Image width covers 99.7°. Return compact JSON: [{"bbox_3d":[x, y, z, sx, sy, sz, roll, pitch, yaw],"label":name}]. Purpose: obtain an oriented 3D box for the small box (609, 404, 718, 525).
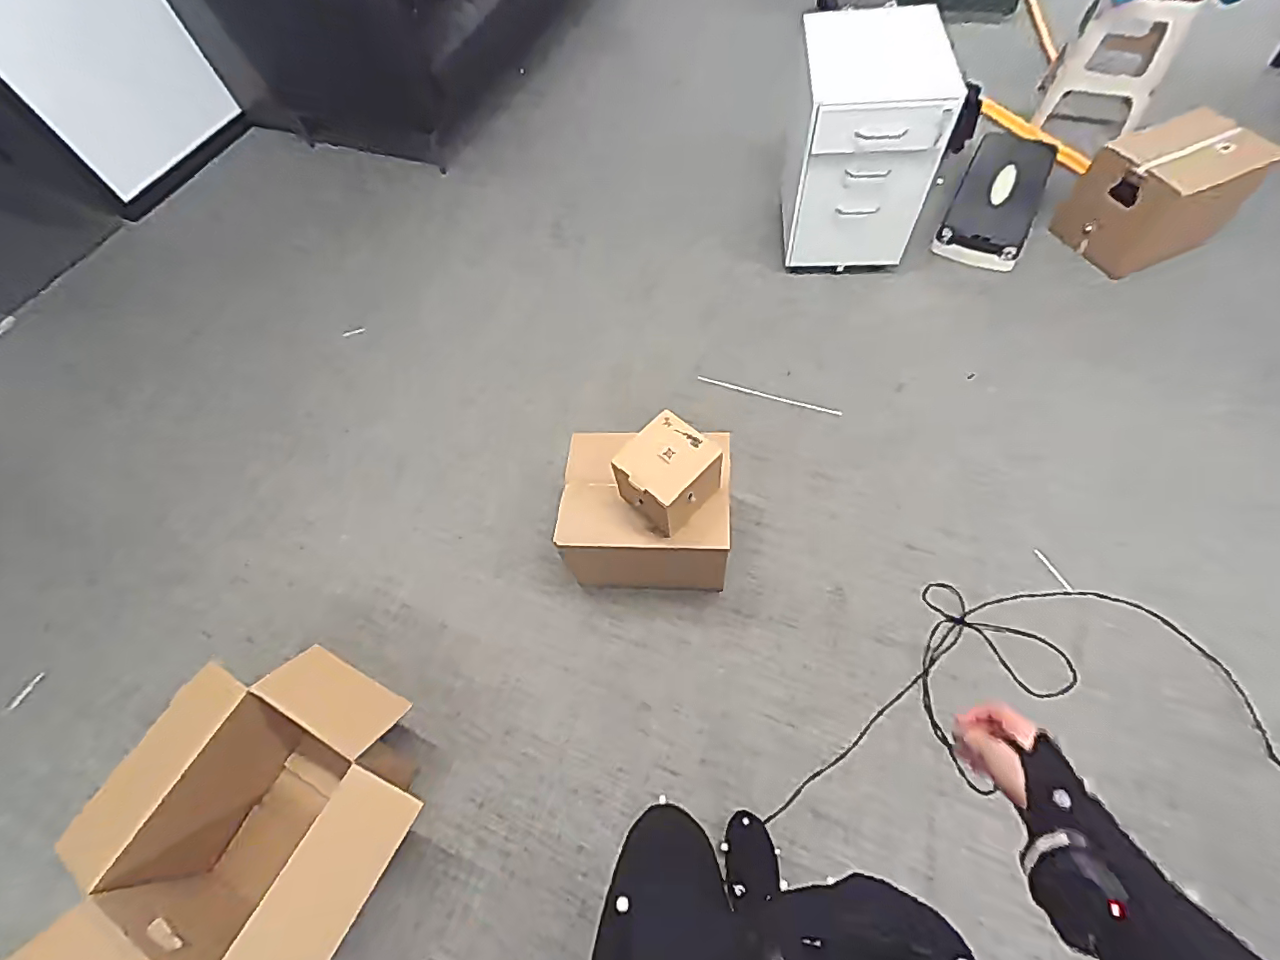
[{"bbox_3d":[0.059,-0.028,1.206,0.168,0.176,0.179,39,74,22],"label":"small box"}]
